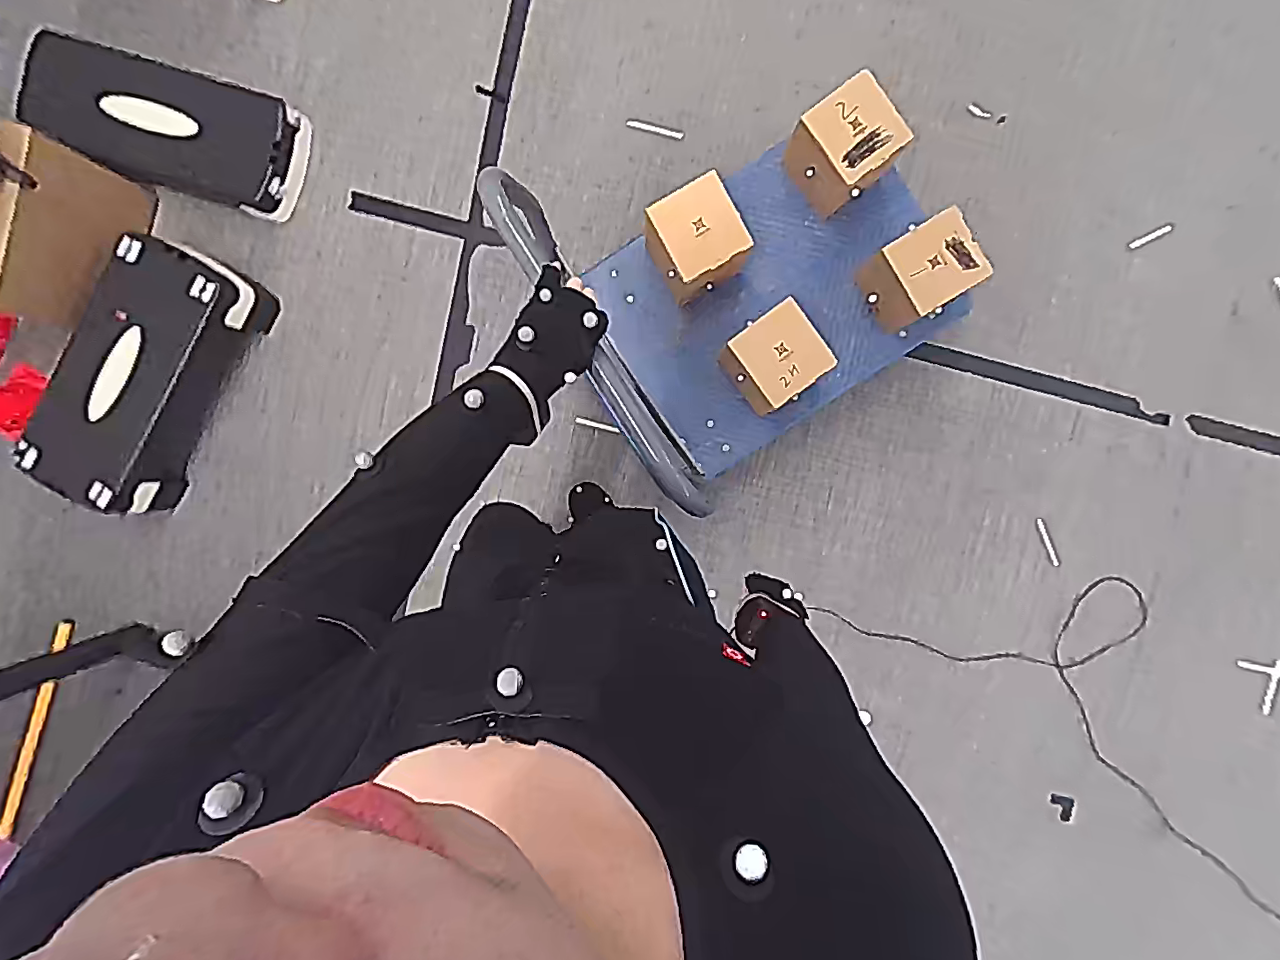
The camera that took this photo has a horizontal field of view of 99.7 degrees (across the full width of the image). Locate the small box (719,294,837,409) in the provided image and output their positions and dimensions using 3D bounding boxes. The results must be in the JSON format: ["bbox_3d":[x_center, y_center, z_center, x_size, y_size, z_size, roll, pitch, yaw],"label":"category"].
[{"bbox_3d":[0.295,-0.274,1.201,0.168,0.176,0.179,-36,92,2],"label":"small box"}]

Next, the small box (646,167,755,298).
[{"bbox_3d":[0.123,-0.532,1.188,0.168,0.176,0.179,-29,95,1],"label":"small box"}]

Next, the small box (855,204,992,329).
[{"bbox_3d":[0.613,-0.459,1.191,0.179,0.176,0.168,-31,92,3],"label":"small box"}]
